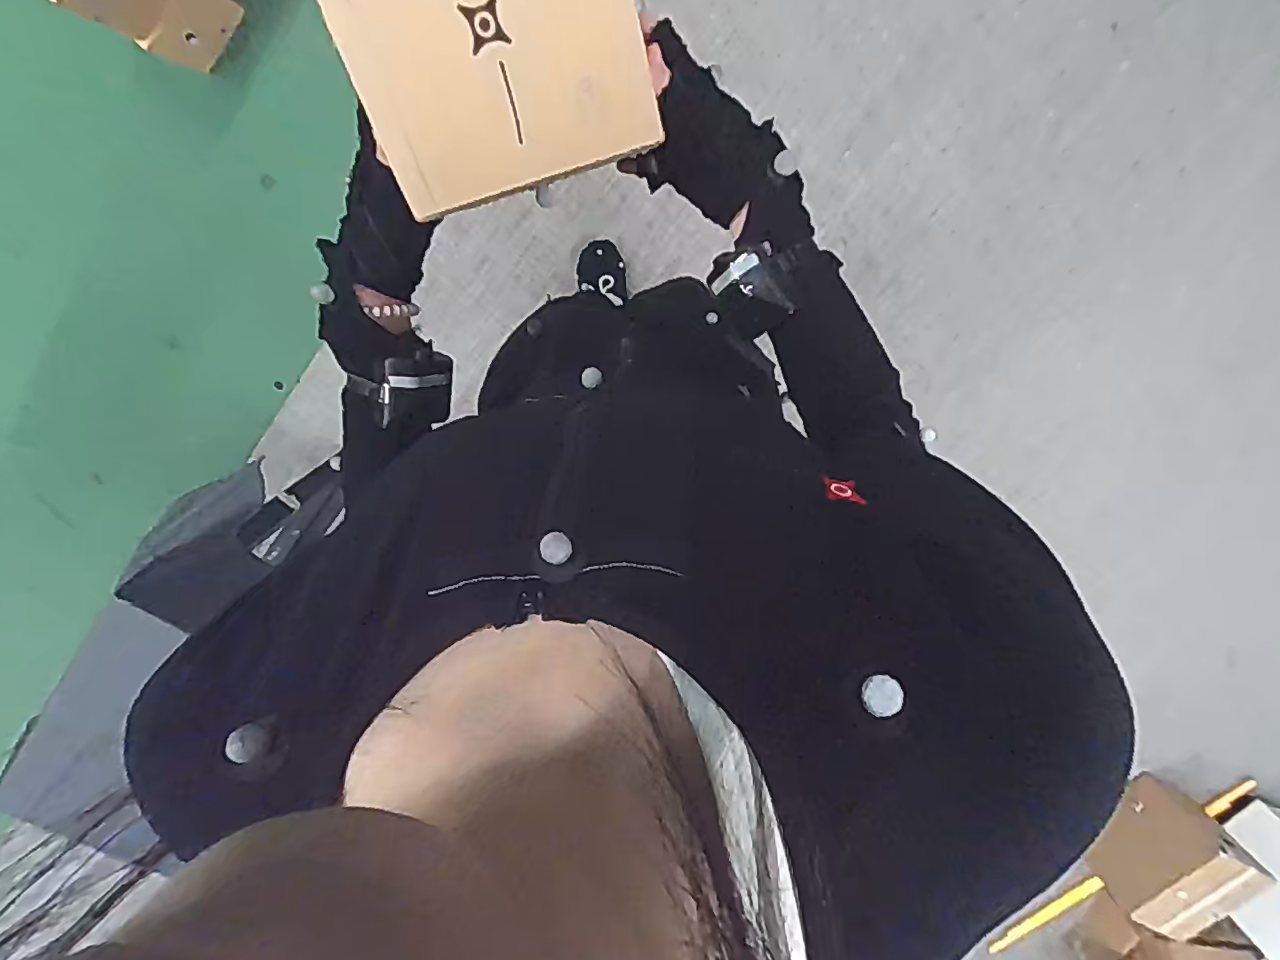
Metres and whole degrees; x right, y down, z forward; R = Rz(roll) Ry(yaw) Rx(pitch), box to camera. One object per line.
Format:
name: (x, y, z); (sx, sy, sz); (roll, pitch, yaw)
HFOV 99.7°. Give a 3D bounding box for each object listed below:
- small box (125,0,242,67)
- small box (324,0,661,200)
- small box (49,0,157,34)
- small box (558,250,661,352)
small box: (-0.934, -0.950, 1.049); (0.168, 0.176, 0.179); (-42, 107, 15)
small box: (-0.094, -0.302, 0.358); (0.168, 0.176, 0.179); (-16, 120, 3)
small box: (-0.932, -0.899, 0.891); (0.168, 0.176, 0.179); (42, 106, -16)
small box: (-0.078, -0.435, 1.306); (0.179, 0.176, 0.168); (36, 120, 2)
